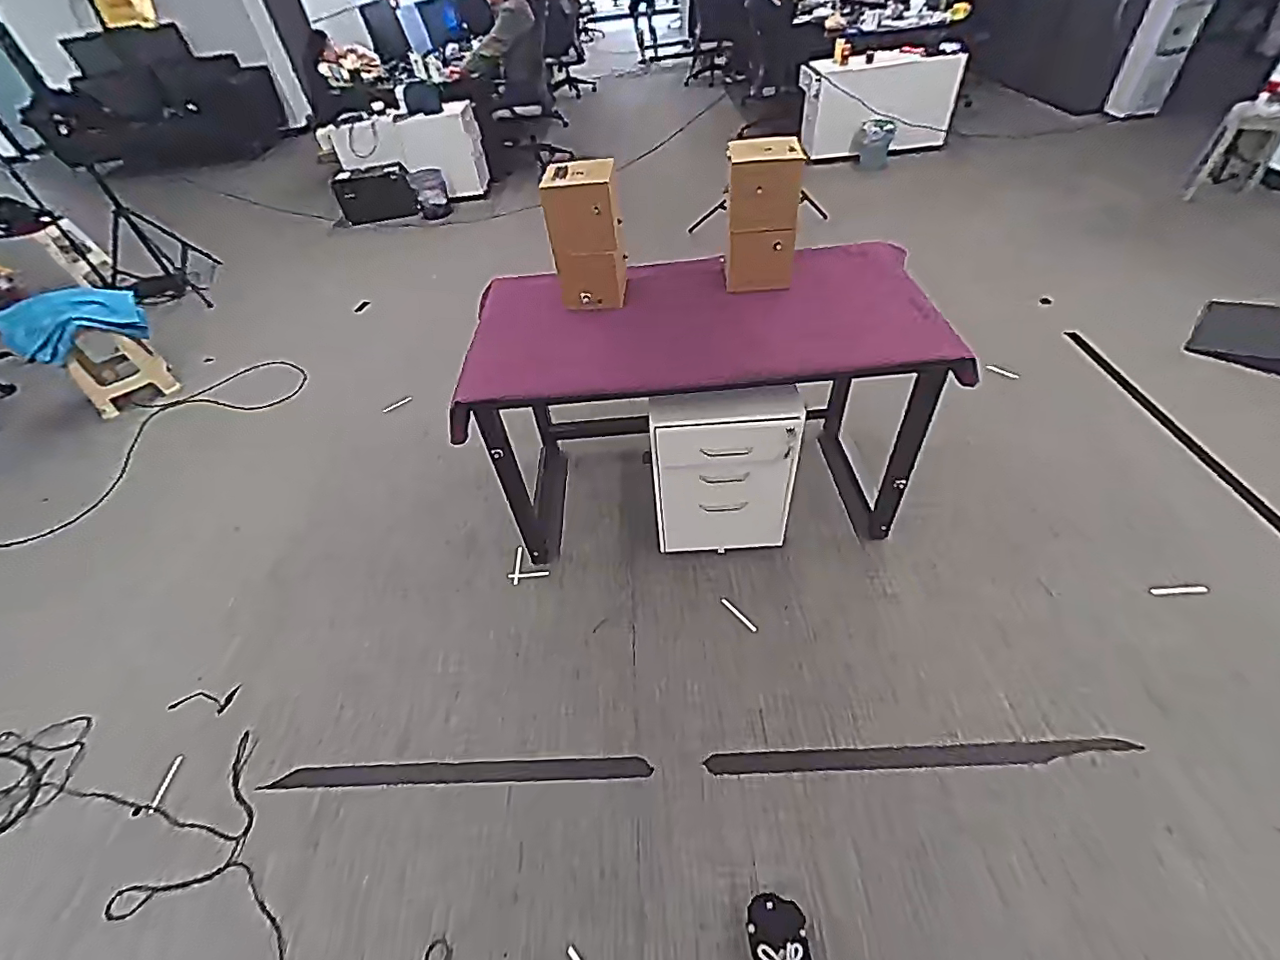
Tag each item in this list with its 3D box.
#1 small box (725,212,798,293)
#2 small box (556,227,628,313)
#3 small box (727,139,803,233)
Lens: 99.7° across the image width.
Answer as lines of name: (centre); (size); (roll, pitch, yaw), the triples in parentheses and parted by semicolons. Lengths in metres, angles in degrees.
small box: (0.333, -0.642, 1.517); (0.179, 0.176, 0.168); (-2, 47, 6)
small box: (-0.129, -0.592, 1.529); (0.168, 0.176, 0.179); (-1, 49, 8)
small box: (0.317, -0.755, 1.399); (0.179, 0.176, 0.168); (-2, 48, 7)
